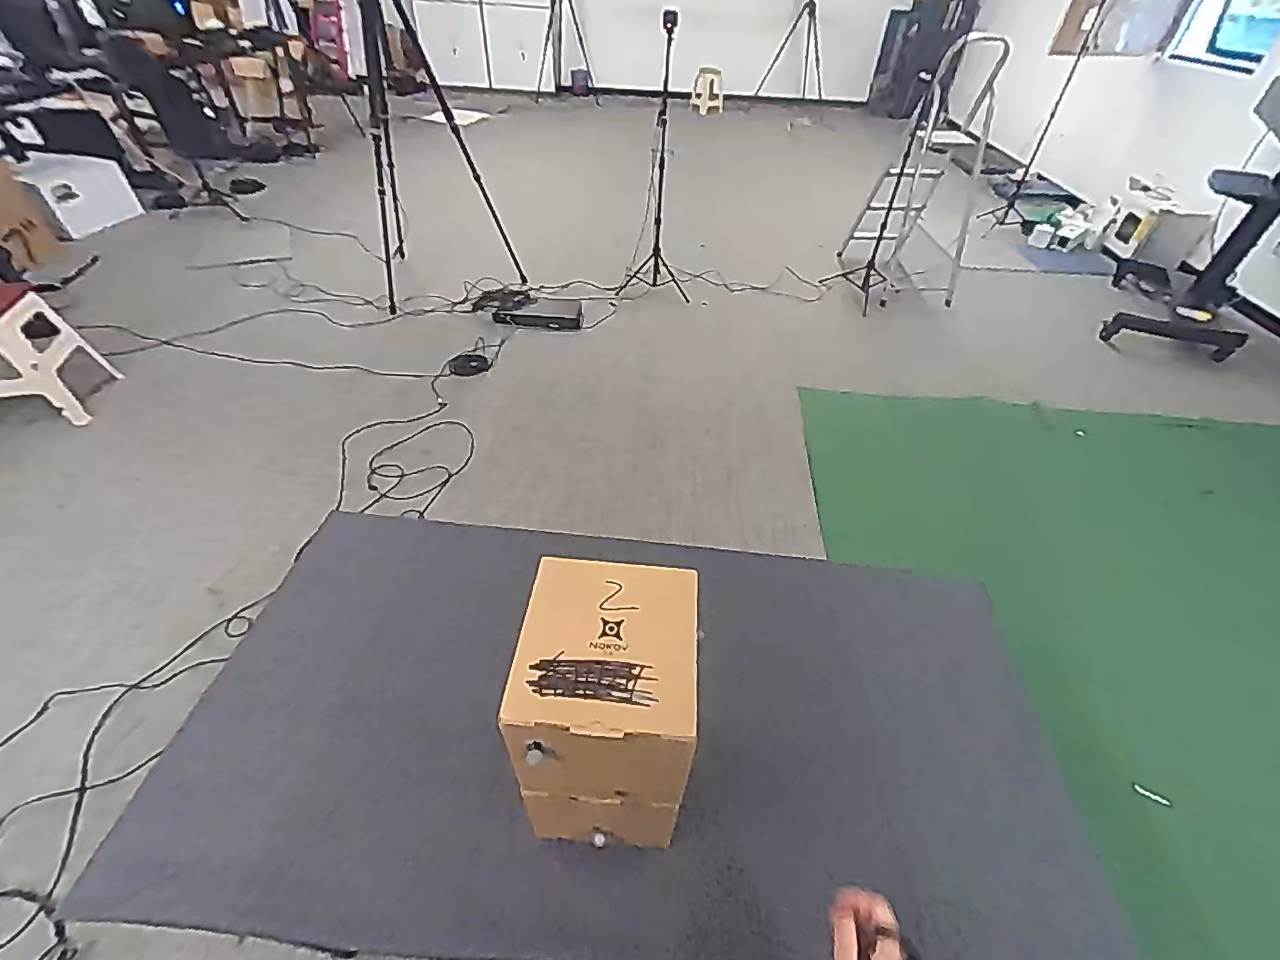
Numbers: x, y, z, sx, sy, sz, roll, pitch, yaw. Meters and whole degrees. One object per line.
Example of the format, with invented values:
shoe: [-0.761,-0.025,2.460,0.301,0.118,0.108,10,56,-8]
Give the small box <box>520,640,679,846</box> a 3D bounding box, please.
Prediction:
small box: [-0.043,0.327,0.674,0.168,0.176,0.179,4,44,1]
